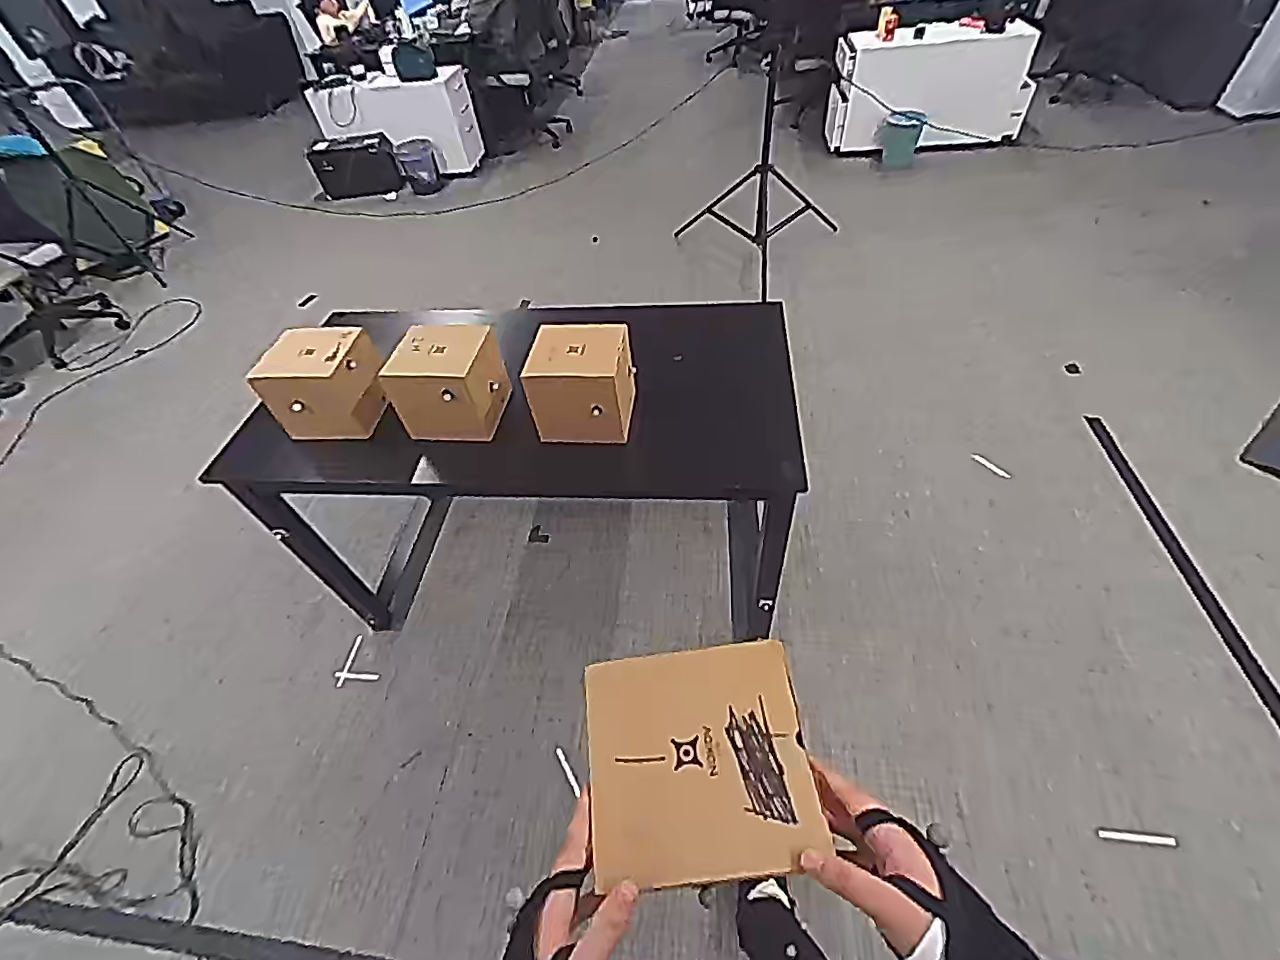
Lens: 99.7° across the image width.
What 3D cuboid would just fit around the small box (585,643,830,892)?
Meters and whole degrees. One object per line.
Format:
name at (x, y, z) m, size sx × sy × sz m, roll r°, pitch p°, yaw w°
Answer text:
small box at (0.051, 0.266, 0.497) m, size 0.179 × 0.176 × 0.168 m, roll -8°, pitch 53°, yaw 1°

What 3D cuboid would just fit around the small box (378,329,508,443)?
small box at (-0.387, -0.188, 1.103) m, size 0.179 × 0.176 × 0.168 m, roll 2°, pitch 49°, yaw 8°

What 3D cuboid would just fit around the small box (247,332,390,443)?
small box at (-0.658, -0.191, 1.138) m, size 0.179 × 0.176 × 0.168 m, roll -1°, pitch 49°, yaw 6°

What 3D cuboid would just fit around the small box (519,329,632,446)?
small box at (-0.116, -0.180, 1.067) m, size 0.179 × 0.176 × 0.168 m, roll 0°, pitch 48°, yaw 8°
